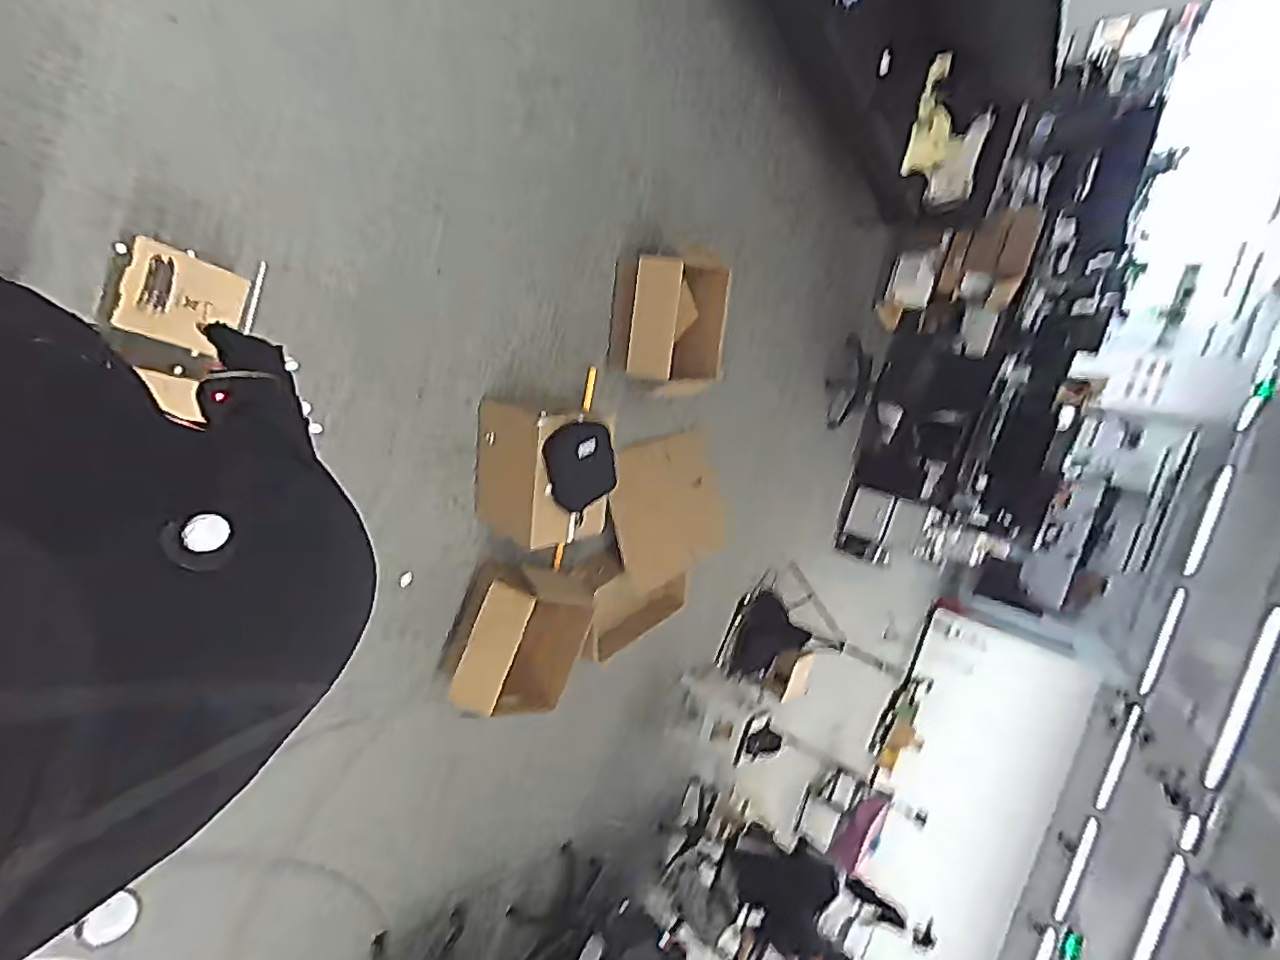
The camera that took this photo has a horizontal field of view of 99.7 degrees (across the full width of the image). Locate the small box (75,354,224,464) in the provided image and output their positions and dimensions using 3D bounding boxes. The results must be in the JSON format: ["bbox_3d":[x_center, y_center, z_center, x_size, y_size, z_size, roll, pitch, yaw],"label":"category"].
[{"bbox_3d":[-0.969,-0.141,1.067,0.179,0.176,0.168,14,94,-52],"label":"small box"}]
